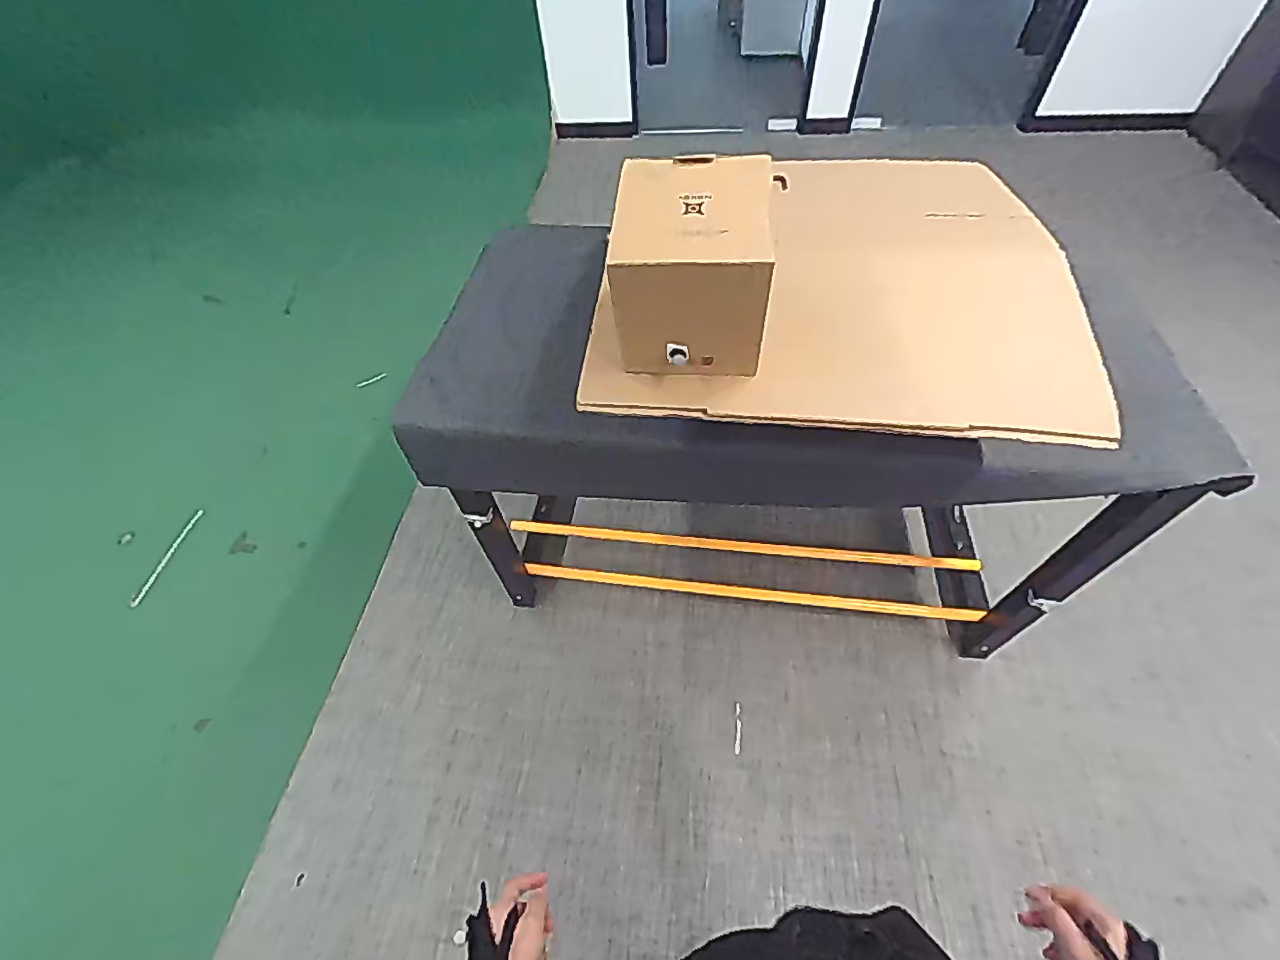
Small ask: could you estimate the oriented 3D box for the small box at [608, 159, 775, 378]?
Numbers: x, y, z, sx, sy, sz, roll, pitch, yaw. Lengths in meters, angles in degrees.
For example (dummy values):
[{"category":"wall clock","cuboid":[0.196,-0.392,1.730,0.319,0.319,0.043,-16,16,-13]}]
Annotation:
[{"category":"small box","cuboid":[0.062,-0.242,0.633,0.168,0.176,0.179,1,62,7]}]
